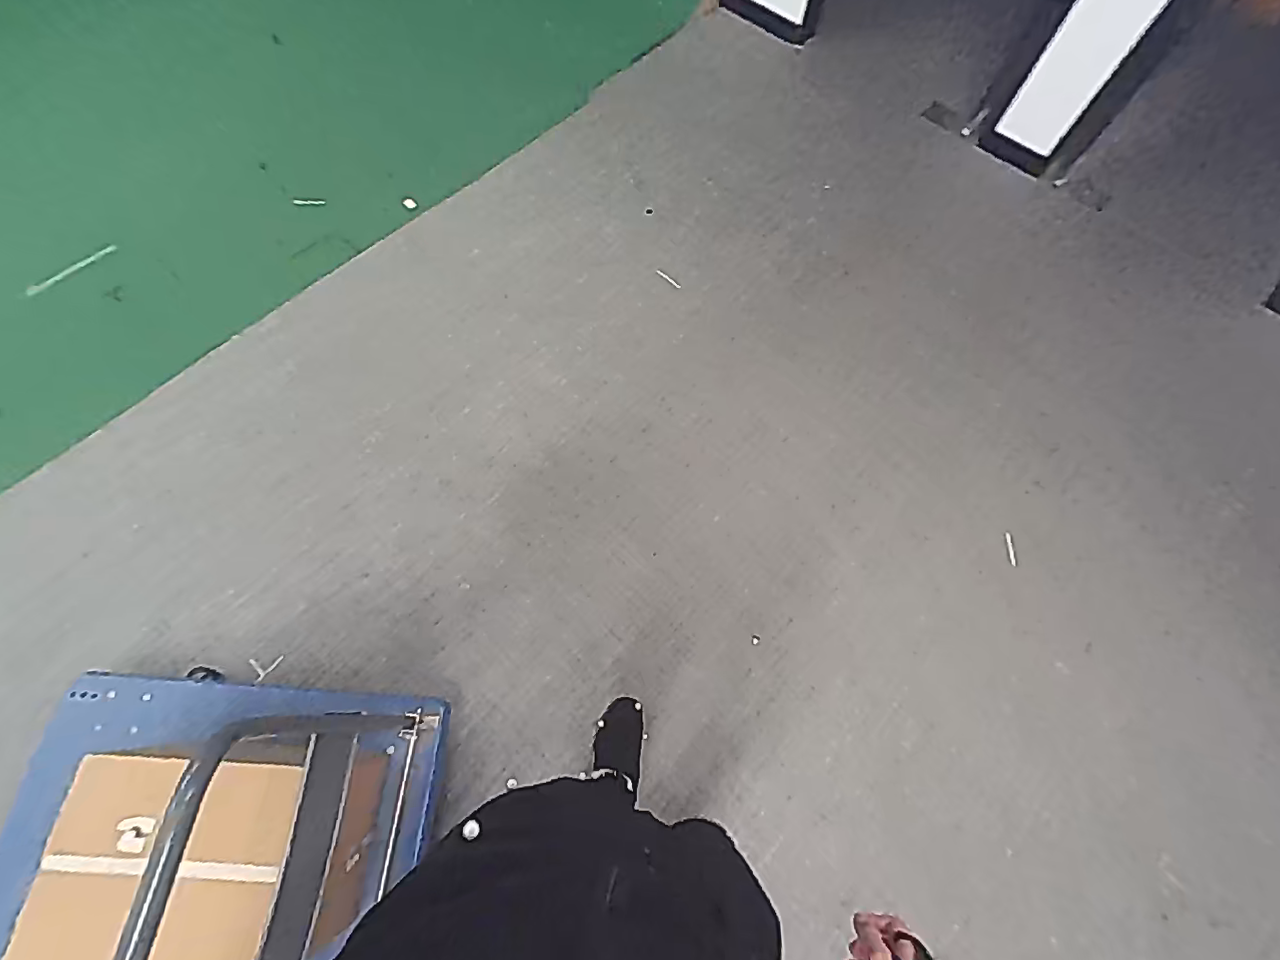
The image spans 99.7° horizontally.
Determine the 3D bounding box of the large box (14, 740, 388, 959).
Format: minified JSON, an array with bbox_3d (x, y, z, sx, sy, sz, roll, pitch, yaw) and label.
[{"bbox_3d":[-0.758,0.678,1.014,0.408,0.320,0.320,3,68,1],"label":"large box"}]
